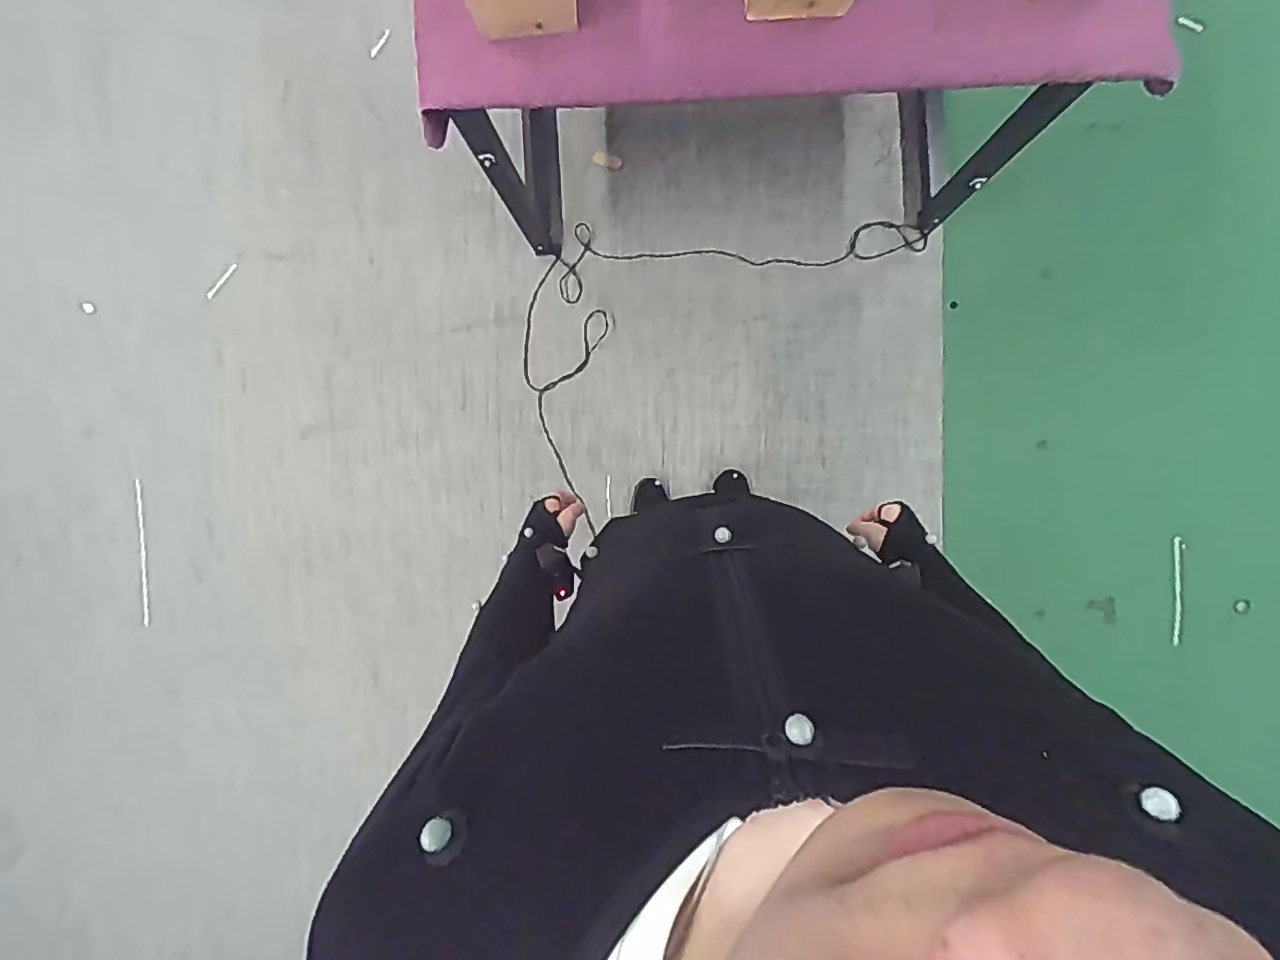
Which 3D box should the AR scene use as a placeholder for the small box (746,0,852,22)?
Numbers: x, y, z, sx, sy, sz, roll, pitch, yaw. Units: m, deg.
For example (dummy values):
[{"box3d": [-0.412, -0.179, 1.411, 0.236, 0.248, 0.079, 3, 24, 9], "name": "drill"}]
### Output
[{"box3d": [0.252, -0.837, 0.804, 0.168, 0.176, 0.179, 0, 90, 3], "name": "small box"}]
